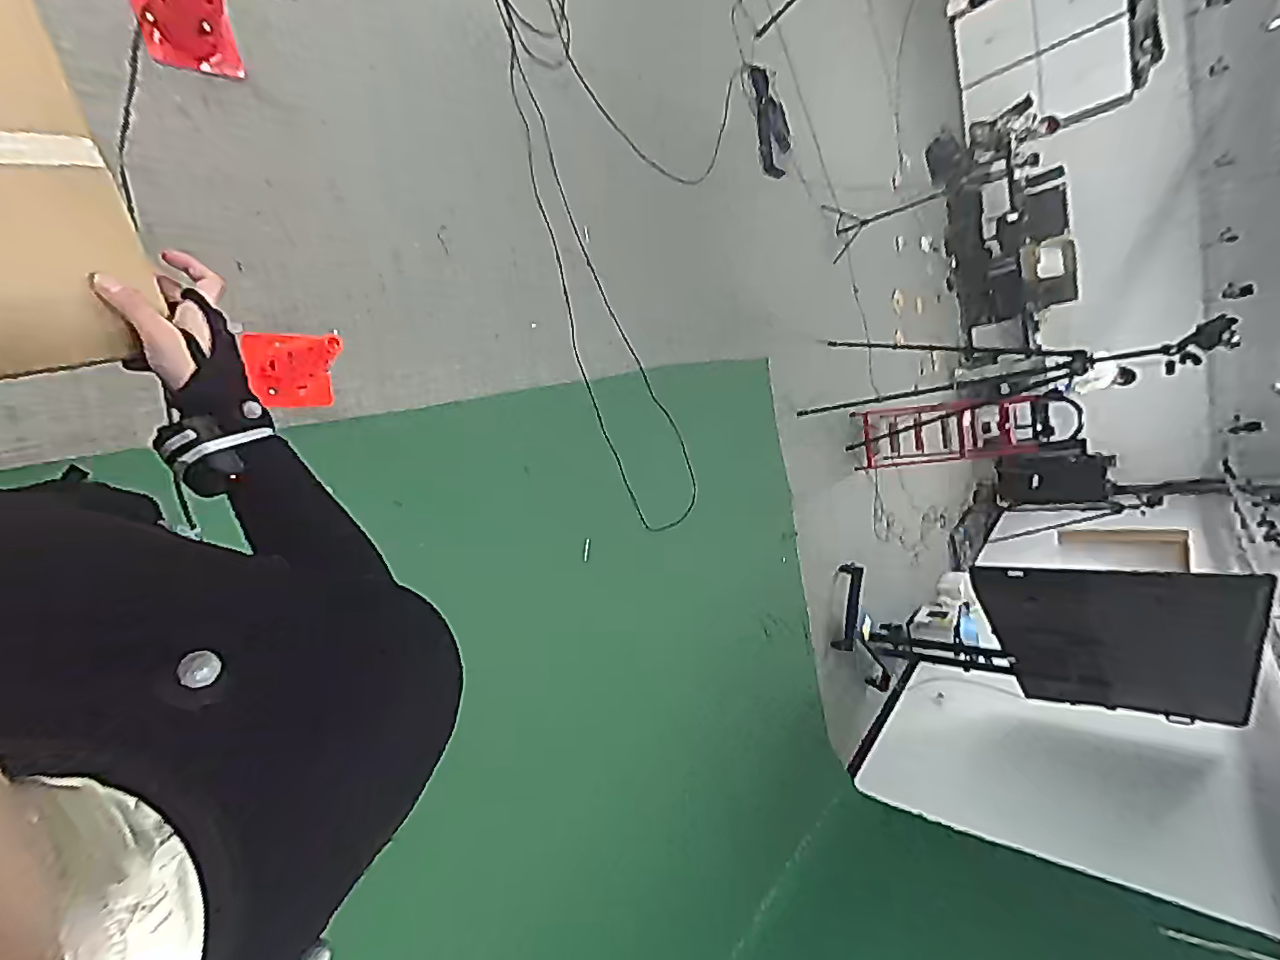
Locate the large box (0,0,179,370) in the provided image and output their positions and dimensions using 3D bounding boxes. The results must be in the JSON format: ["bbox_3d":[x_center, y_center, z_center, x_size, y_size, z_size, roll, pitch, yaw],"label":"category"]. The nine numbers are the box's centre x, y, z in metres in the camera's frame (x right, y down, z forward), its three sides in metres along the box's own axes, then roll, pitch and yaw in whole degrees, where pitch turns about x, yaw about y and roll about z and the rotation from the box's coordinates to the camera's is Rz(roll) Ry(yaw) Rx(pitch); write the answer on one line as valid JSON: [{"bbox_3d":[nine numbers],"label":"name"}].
[{"bbox_3d":[-0.683,-0.218,0.404,0.408,0.320,0.320,-29,119,-44],"label":"large box"}]

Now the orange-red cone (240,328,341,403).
[{"bbox_3d":[-0.835,-0.316,1.359,0.199,0.360,0.198,-10,96,-49],"label":"orange-red cone"}]
